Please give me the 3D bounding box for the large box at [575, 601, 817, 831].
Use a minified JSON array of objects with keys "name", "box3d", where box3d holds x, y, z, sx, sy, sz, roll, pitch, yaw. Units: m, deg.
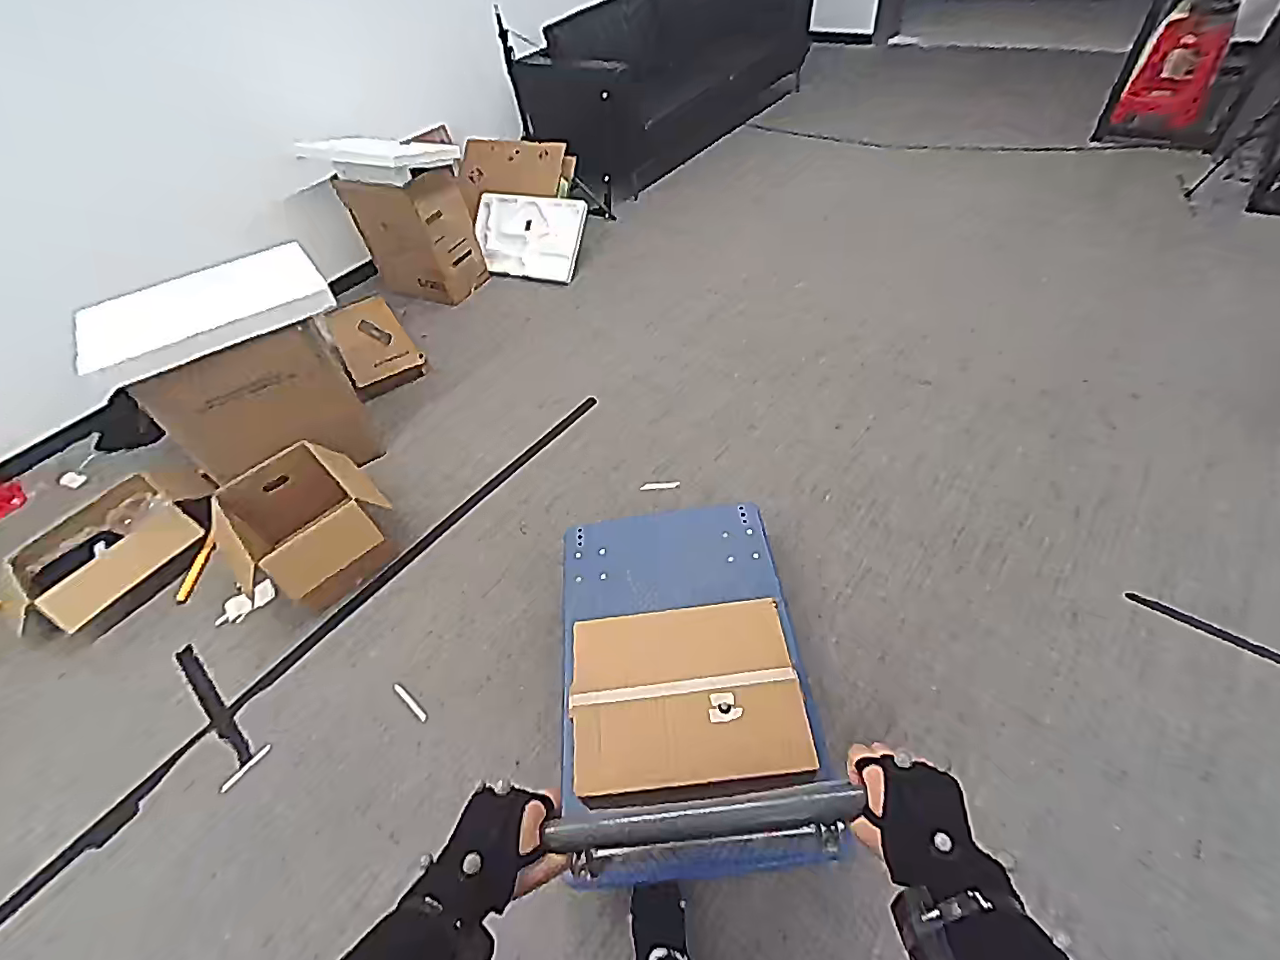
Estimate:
[{"name":"large box","box3d":[0.093,0.480,1.091,0.408,0.320,0.320,-7,49,1]}]
